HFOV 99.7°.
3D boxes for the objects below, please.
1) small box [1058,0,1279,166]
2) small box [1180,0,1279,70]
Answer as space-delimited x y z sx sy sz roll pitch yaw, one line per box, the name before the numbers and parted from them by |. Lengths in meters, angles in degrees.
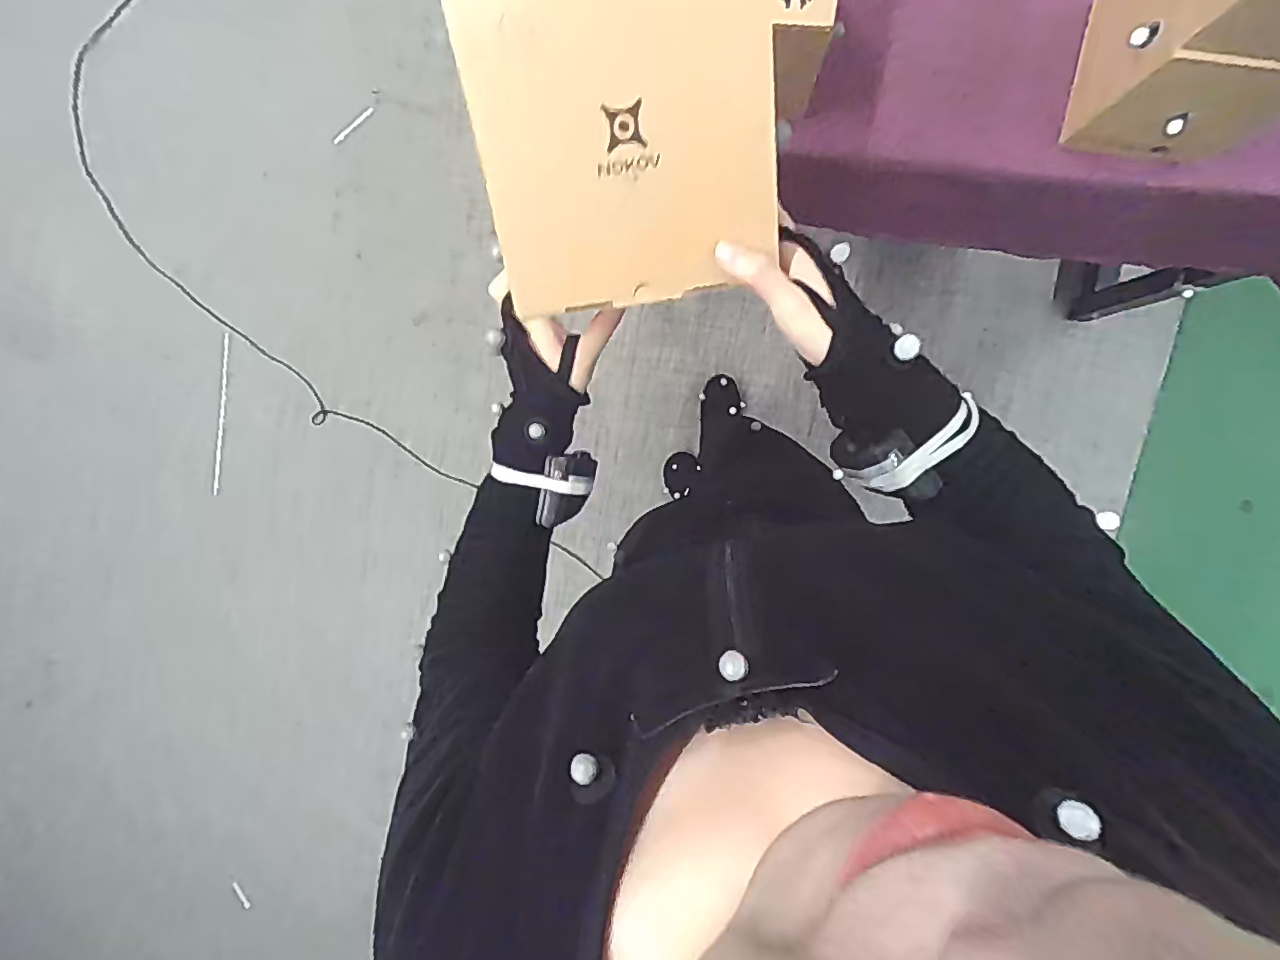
small box | 0.612 -0.479 0.595 0.168 0.176 0.179 11 96 3
small box | 0.606 -0.466 0.431 0.179 0.176 0.168 11 96 3
